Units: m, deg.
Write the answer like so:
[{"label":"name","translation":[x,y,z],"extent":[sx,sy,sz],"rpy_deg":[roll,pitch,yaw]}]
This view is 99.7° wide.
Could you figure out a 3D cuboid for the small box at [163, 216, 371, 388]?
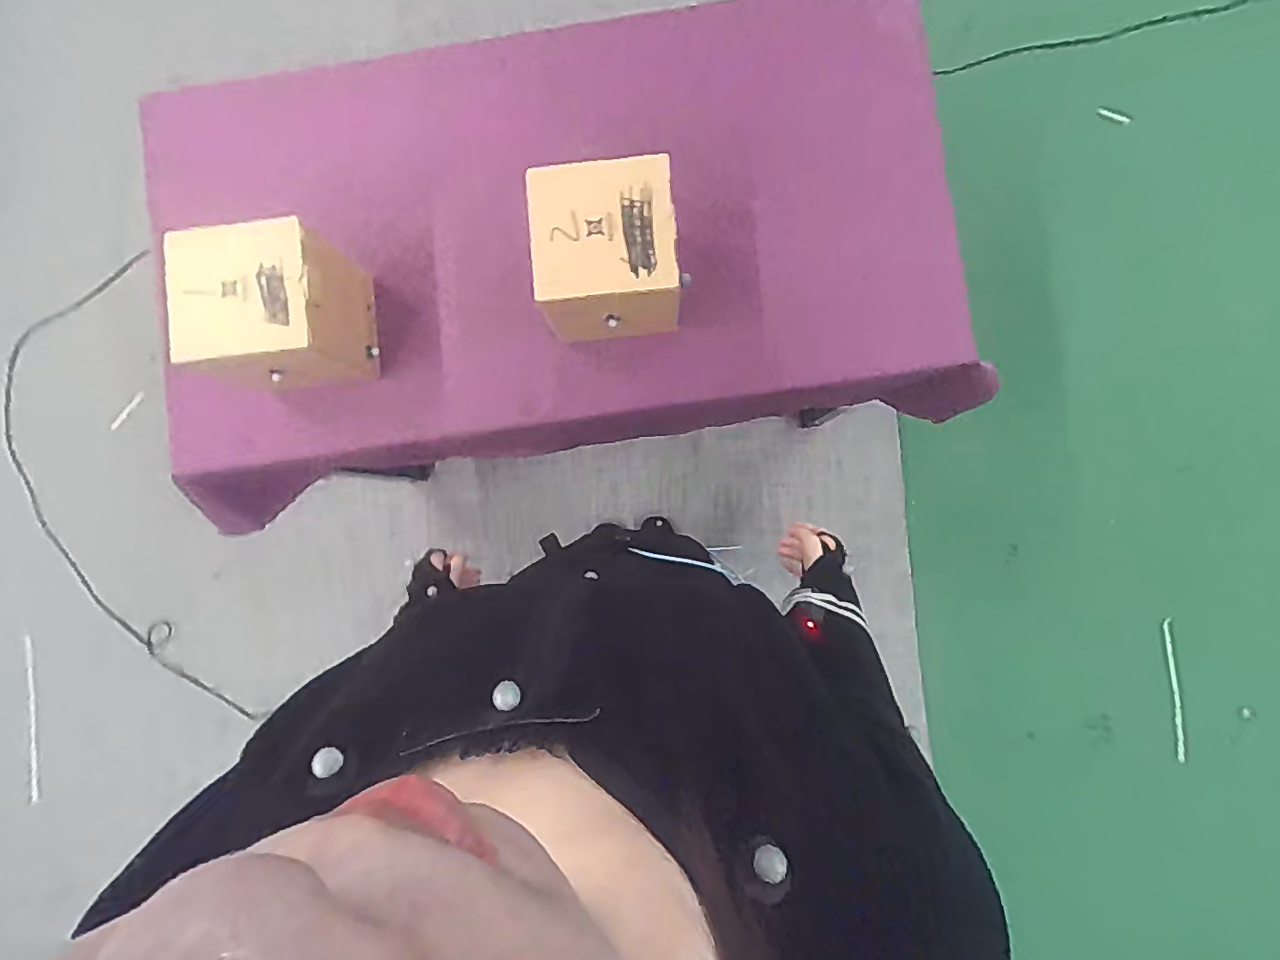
[{"label":"small box","translation":[-0.488,-0.230,0.736],"extent":[0.179,0.176,0.168],"rpy_deg":[-6,87,2]}]
